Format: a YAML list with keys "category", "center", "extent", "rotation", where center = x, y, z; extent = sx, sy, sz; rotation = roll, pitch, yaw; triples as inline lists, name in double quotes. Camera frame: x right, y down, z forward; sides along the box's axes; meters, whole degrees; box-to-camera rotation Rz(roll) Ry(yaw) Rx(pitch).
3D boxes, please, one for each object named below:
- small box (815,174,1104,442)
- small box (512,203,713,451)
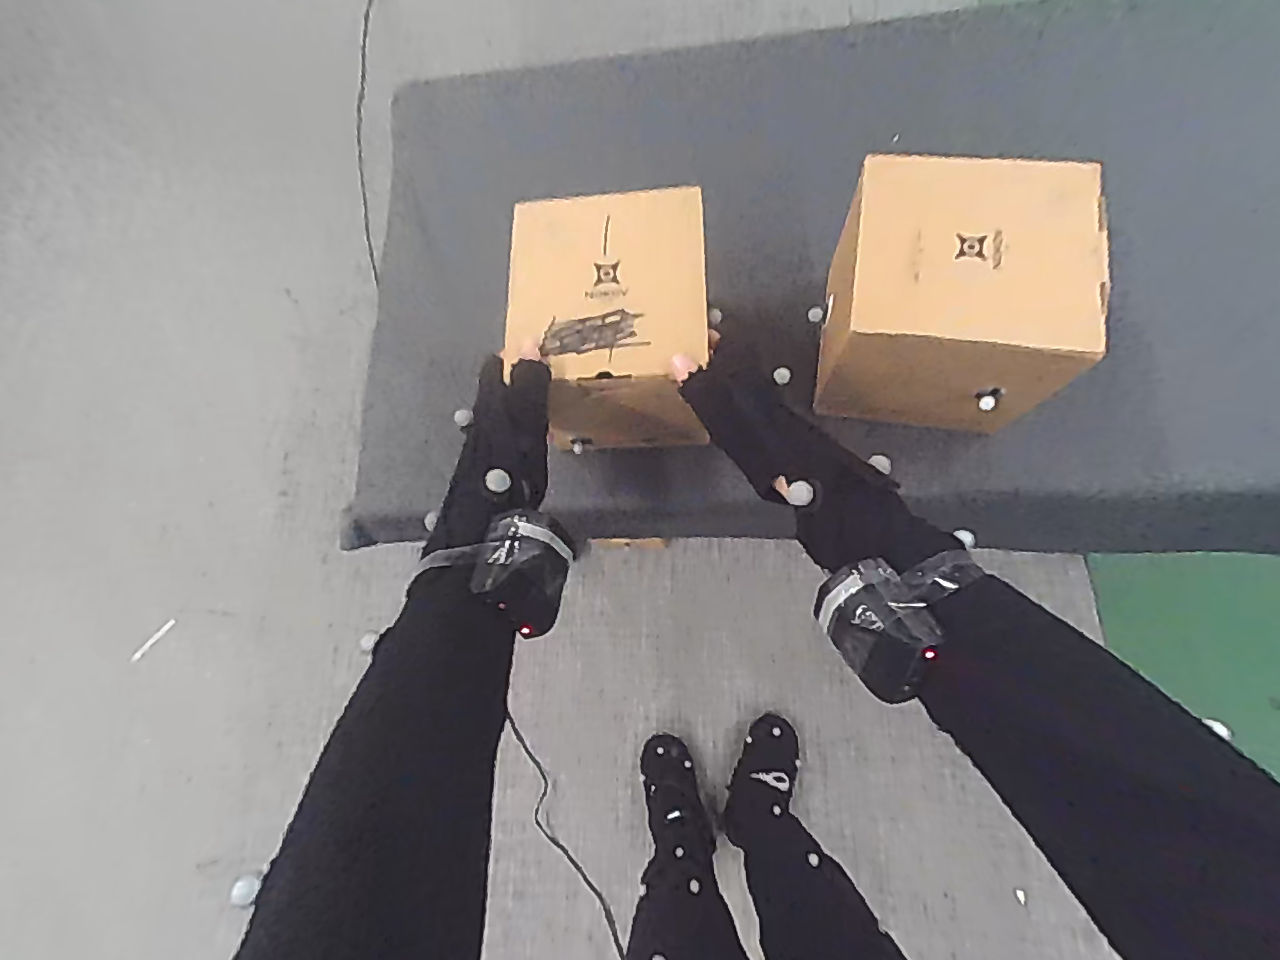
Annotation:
- category: "small box"
  center: [0.272, -0.143, 0.494]
  extent: [0.179, 0.176, 0.168]
  rotation: [9, 76, 11]
- category: "small box"
  center: [-0.013, -0.130, 0.525]
  extent: [0.168, 0.176, 0.179]
  rotation: [-1, 74, 6]
